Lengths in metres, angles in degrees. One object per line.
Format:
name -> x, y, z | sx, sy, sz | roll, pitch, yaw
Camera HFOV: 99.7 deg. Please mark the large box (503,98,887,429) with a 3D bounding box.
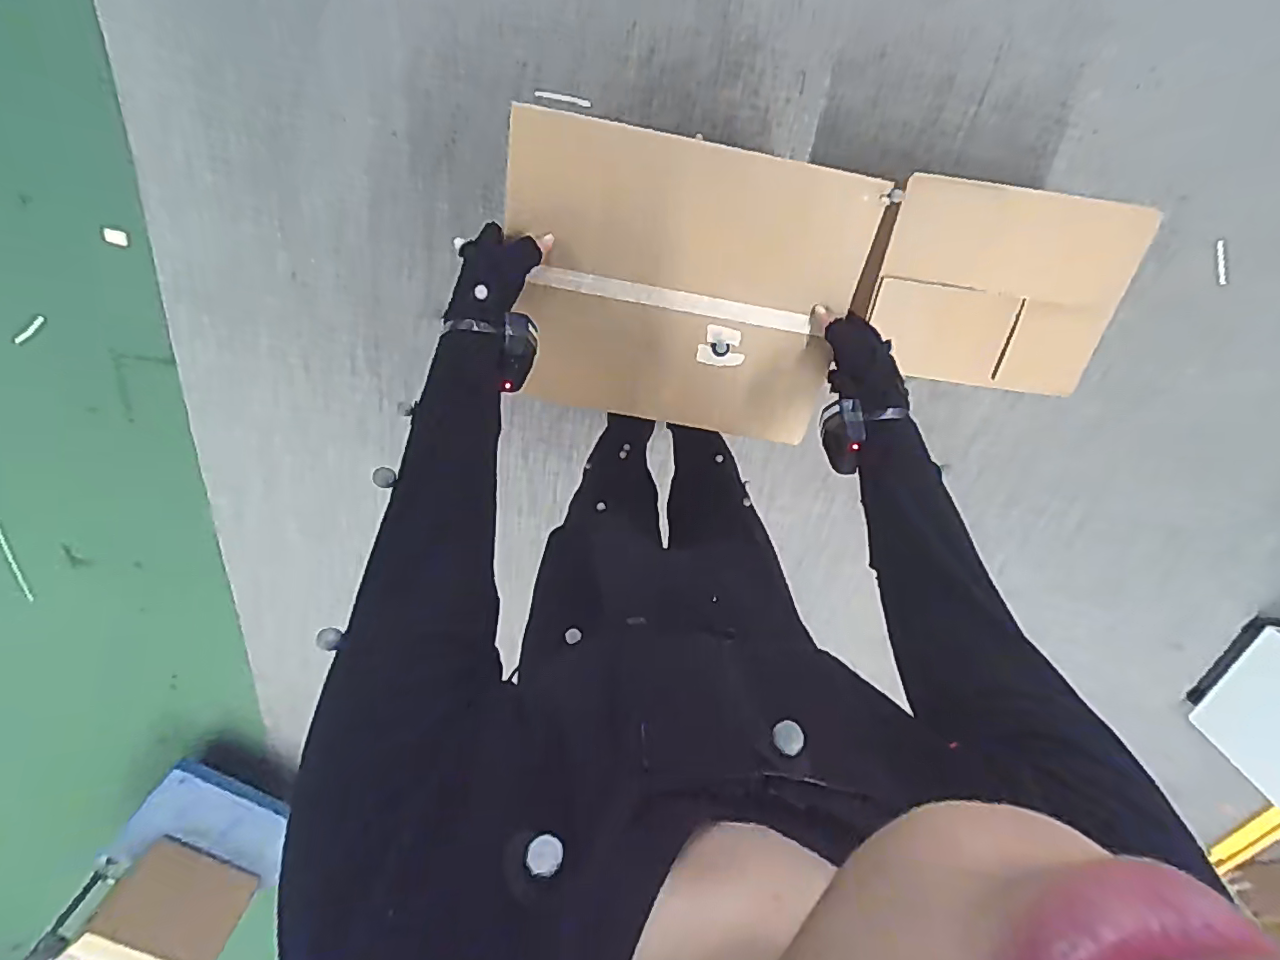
large box -> 0.044, -0.298, 0.760 | 0.408, 0.320, 0.320 | 9, 119, -4
